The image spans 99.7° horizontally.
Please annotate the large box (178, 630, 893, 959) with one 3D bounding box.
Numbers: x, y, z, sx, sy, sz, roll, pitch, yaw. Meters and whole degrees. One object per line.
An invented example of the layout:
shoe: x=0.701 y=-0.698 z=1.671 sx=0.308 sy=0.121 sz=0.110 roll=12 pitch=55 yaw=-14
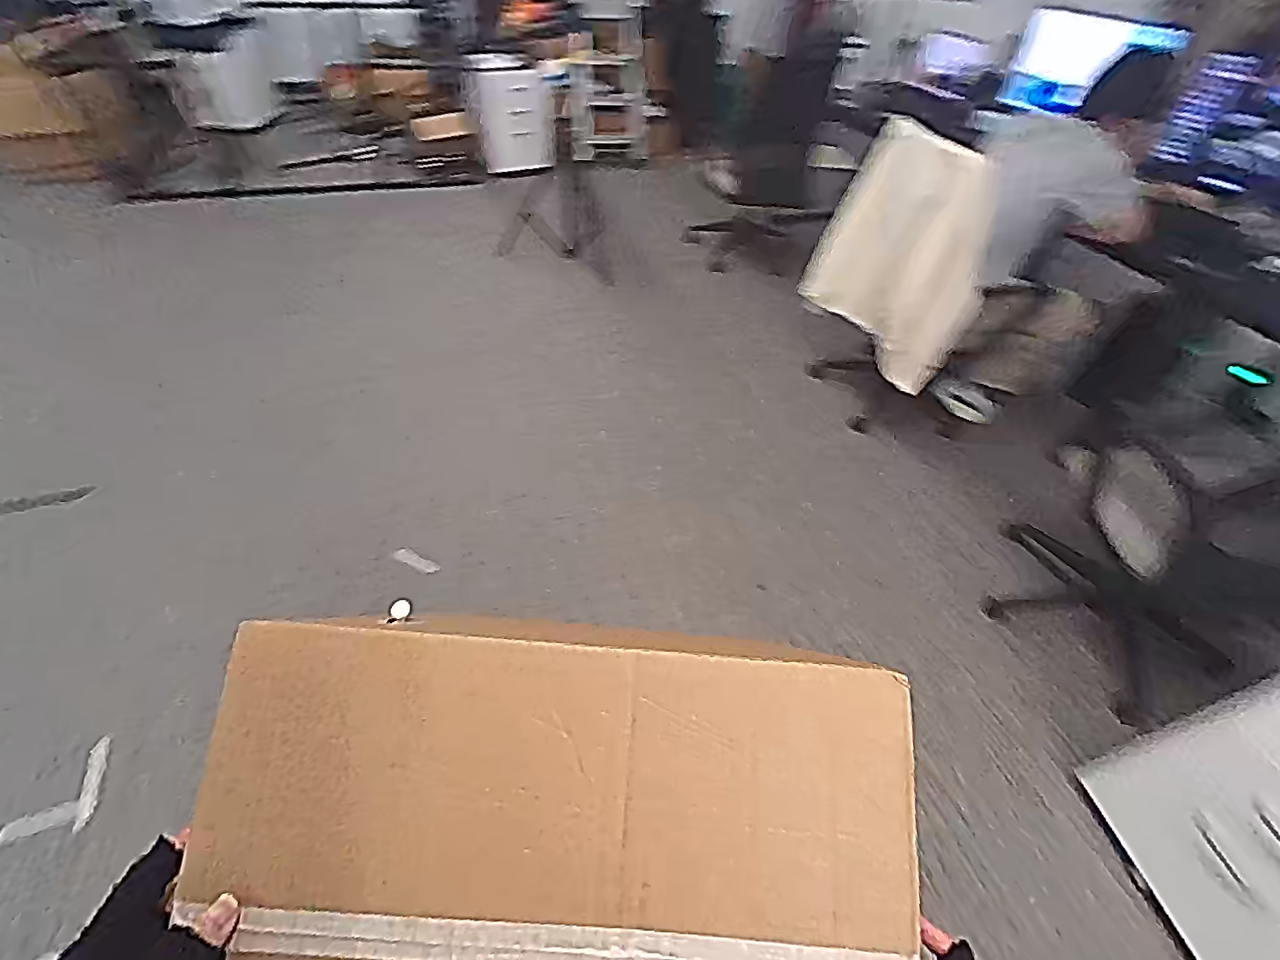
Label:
large box: x=-0.059 y=0.292 z=0.448 sx=0.408 sy=0.320 sz=0.320 roll=3 pitch=78 yaw=-1
